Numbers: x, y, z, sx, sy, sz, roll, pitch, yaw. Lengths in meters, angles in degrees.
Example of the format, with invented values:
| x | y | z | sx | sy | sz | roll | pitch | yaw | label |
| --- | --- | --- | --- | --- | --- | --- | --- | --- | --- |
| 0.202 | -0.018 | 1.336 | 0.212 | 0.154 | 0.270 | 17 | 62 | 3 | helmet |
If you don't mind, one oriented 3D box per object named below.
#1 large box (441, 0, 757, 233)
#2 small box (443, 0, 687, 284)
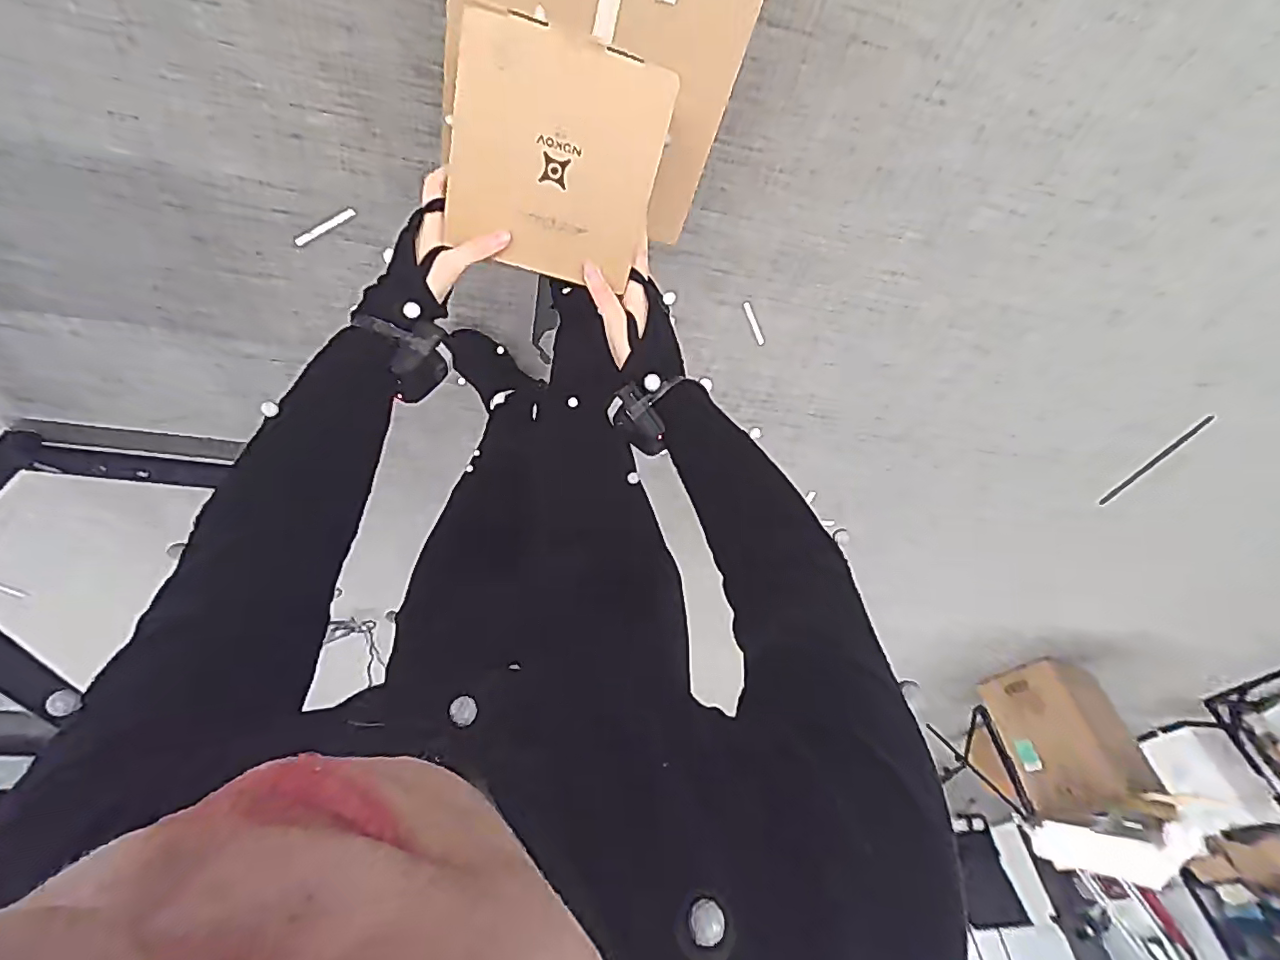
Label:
| x | y | z | sx | sy | sz | roll | pitch | yaw | label |
| --- | --- | --- | --- | --- | --- | --- | --- | --- | --- |
| -0.049 | -0.593 | 0.658 | 0.320 | 0.320 | 0.408 | 8 | 136 | -16 | large box |
| -0.073 | -0.310 | 0.499 | 0.168 | 0.176 | 0.179 | 12 | 123 | -13 | small box |
